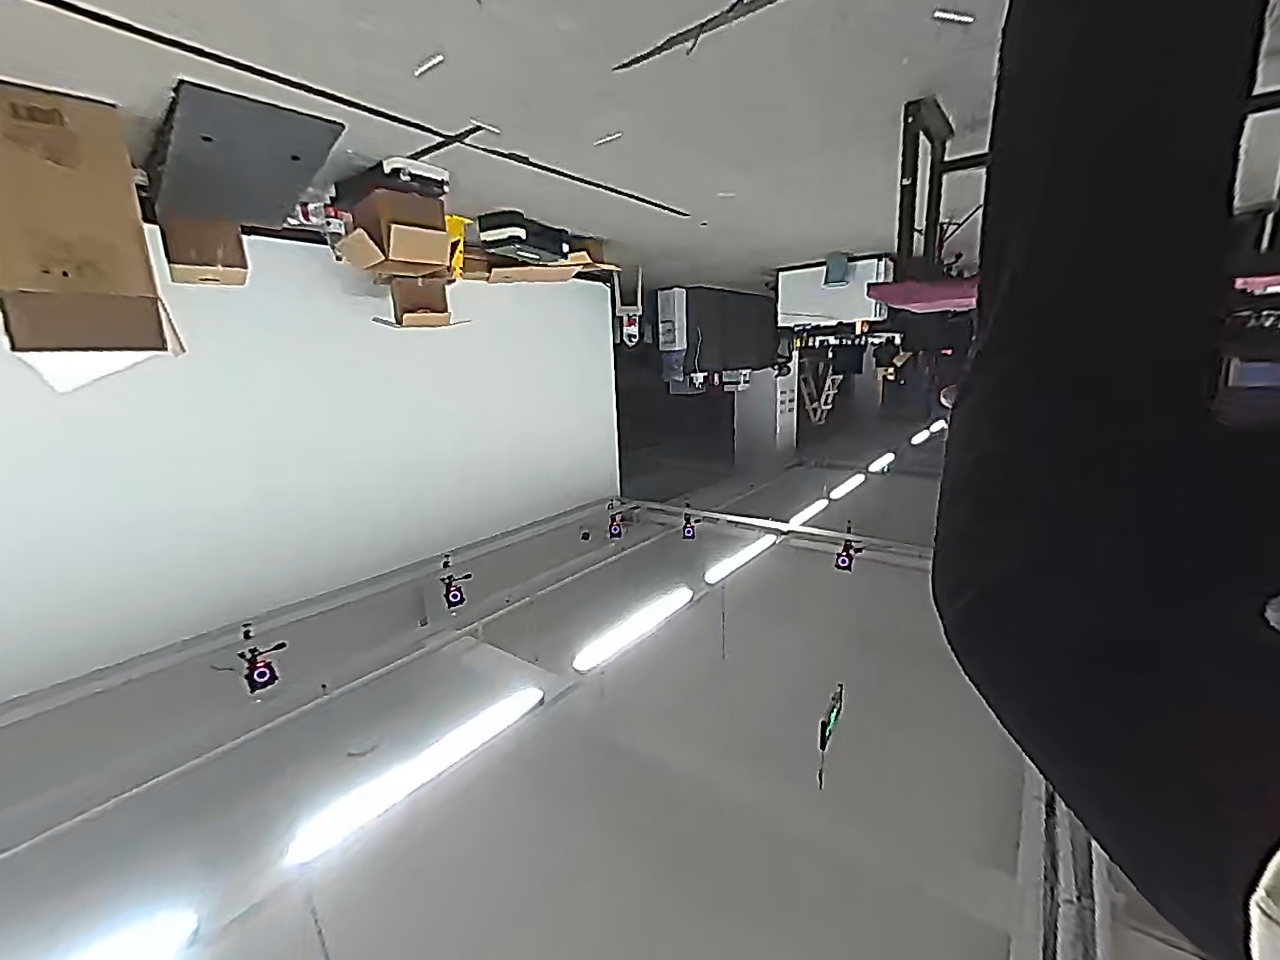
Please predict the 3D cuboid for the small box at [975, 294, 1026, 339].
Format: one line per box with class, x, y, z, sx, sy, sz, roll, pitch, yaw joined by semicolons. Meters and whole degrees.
small box;1.562;-0.705;2.340;0.179;0.176;0.168;6;-167;36
